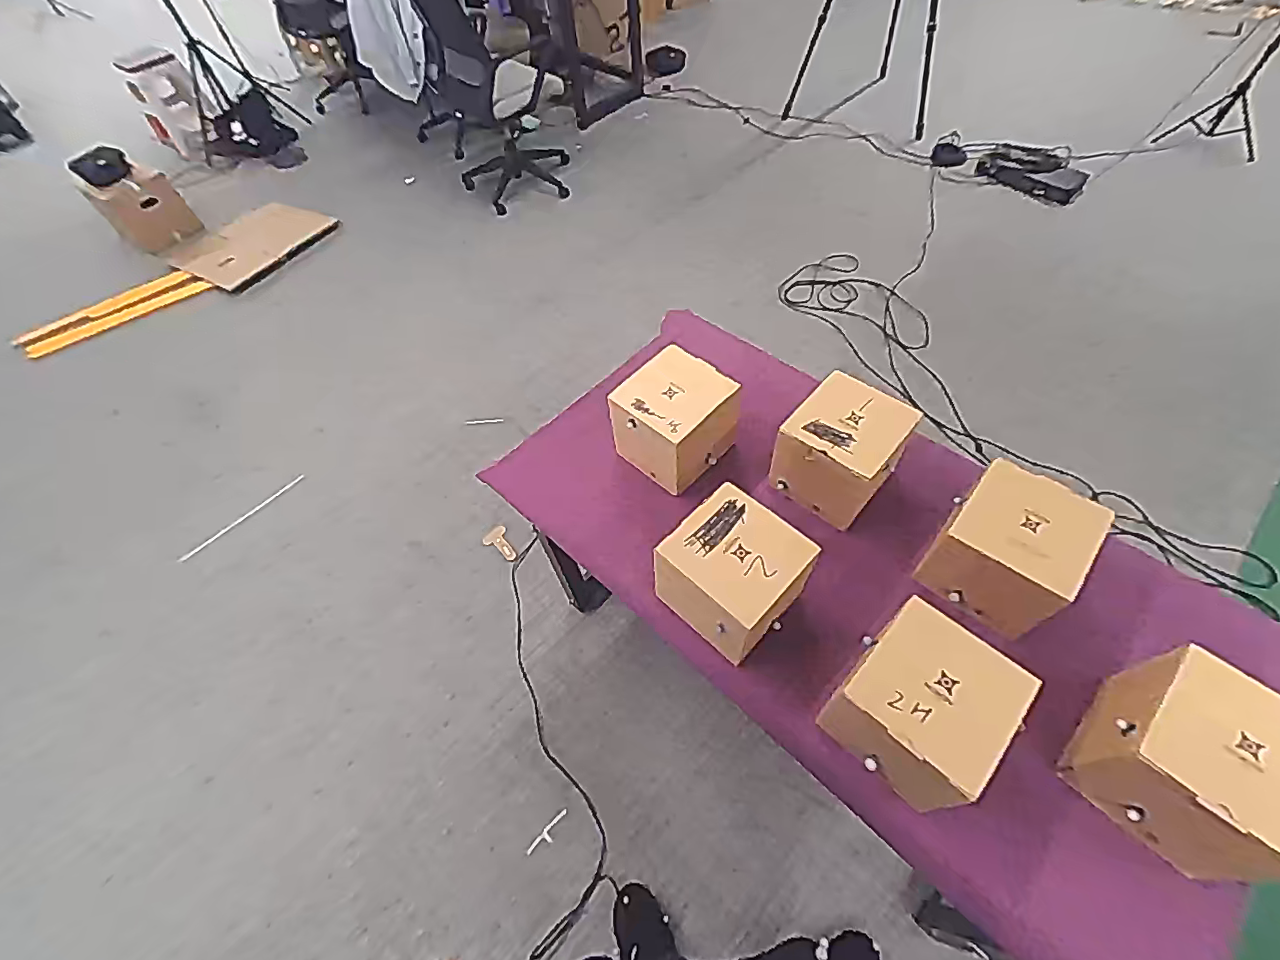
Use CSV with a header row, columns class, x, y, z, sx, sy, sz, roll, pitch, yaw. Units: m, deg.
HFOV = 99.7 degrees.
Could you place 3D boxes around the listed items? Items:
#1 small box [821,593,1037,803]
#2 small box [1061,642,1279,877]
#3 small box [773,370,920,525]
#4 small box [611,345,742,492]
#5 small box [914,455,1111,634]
class,x,y,z,sx,sy,sz,roll,pitch,yaw
small box,0.365,0.290,0.715,0.168,0.176,0.179,38,66,26
small box,0.669,0.337,0.660,0.179,0.176,0.168,-41,61,-20
small box,0.350,-0.053,0.951,0.168,0.176,0.179,36,65,25
small box,0.067,-0.113,1.013,0.168,0.176,0.179,37,66,27
small box,0.555,0.102,0.830,0.168,0.176,0.179,35,66,26
